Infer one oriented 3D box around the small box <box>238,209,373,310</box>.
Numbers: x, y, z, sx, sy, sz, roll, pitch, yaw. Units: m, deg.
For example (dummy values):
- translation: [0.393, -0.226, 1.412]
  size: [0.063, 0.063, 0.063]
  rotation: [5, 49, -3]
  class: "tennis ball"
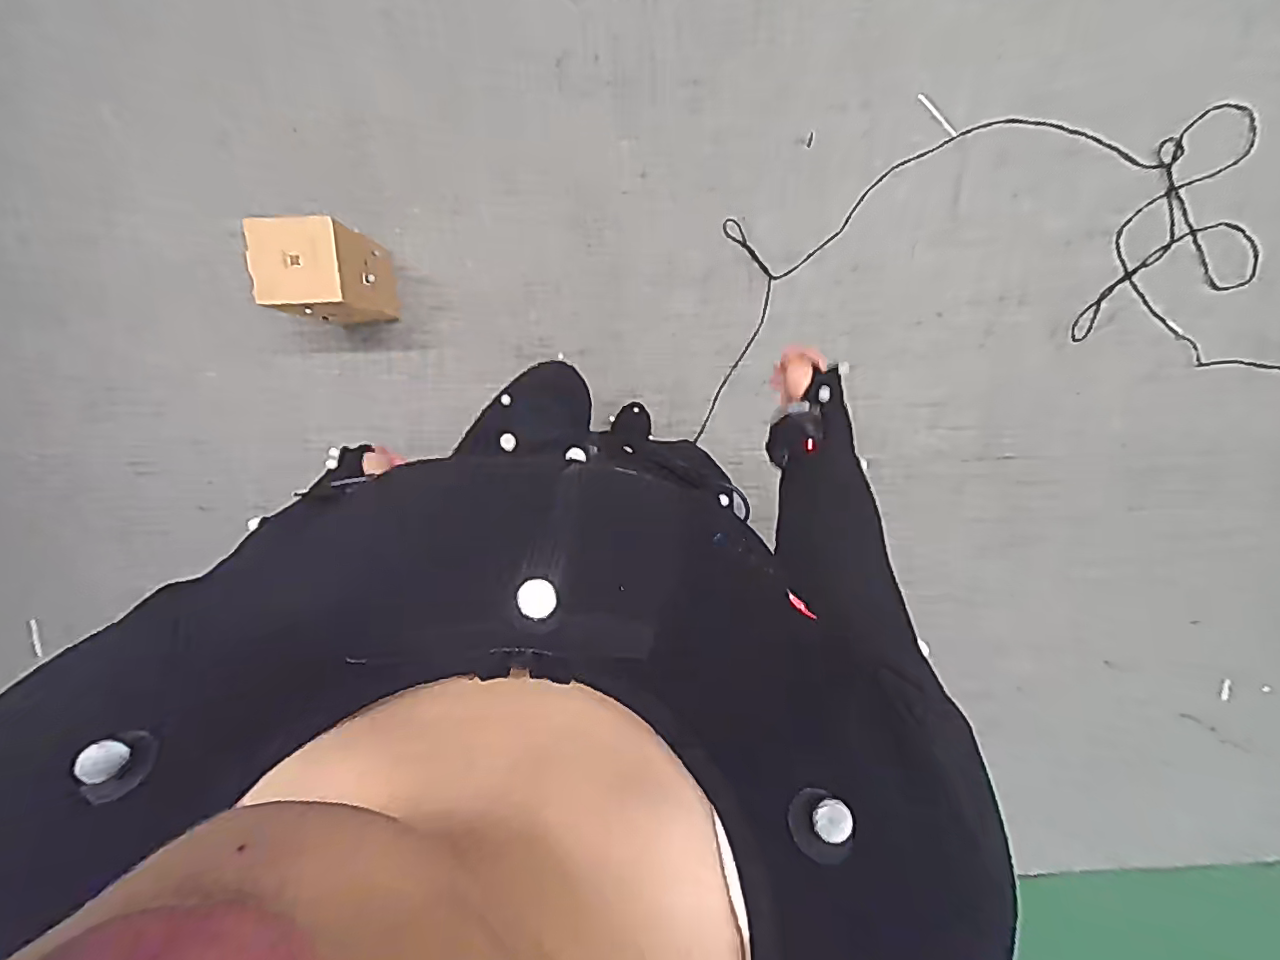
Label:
- translation: [-0.697, -0.458, 1.144]
  size: [0.179, 0.176, 0.168]
  rotation: [-3, 100, -3]
  class: "small box"
